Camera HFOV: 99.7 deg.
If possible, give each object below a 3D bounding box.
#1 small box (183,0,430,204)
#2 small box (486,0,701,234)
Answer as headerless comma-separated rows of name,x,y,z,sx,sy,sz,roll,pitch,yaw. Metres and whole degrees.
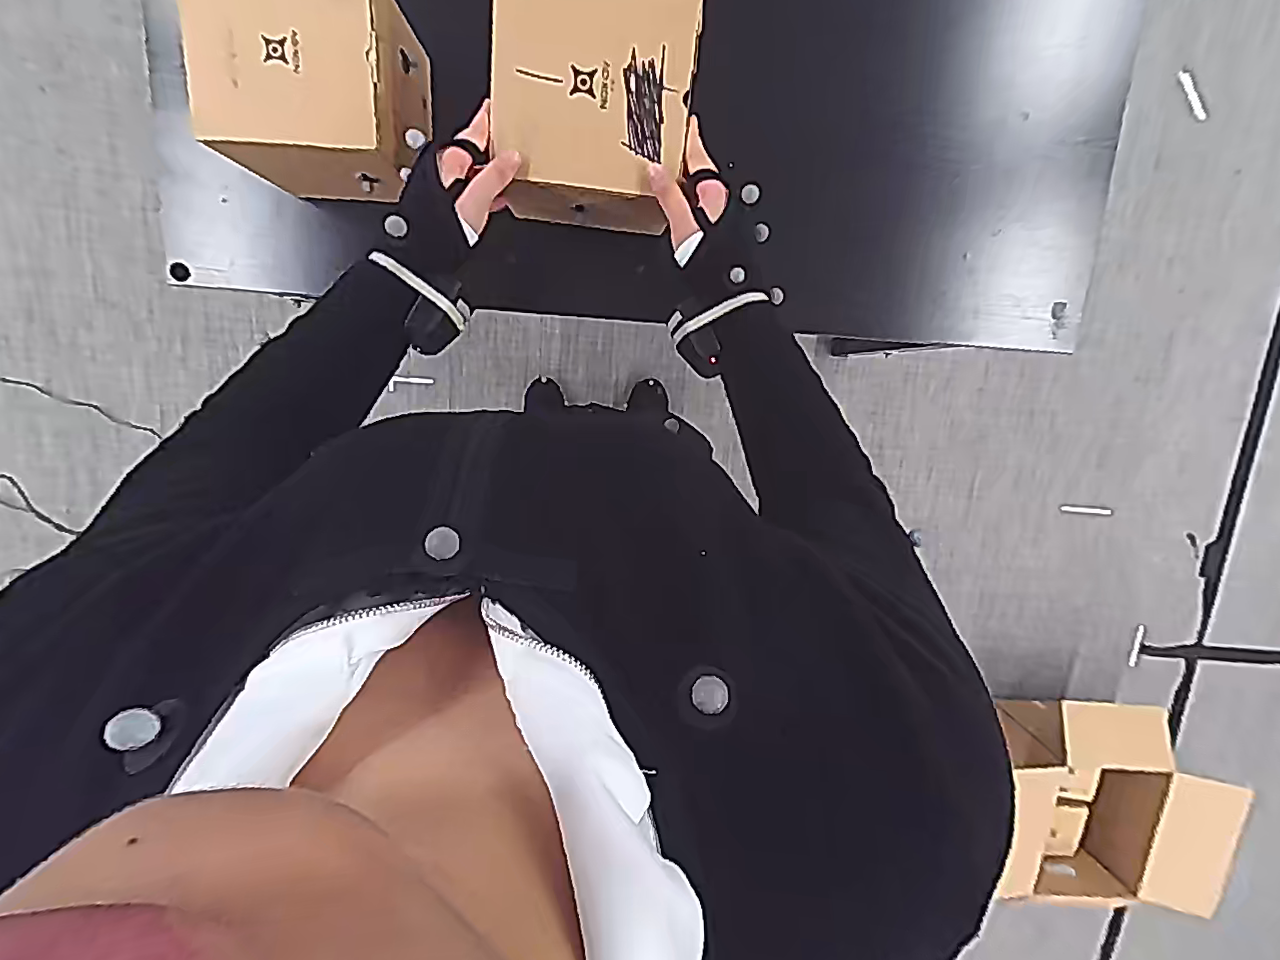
small box,-0.339,-0.415,0.588,0.179,0.176,0.168,1,100,-2
small box,-0.048,-0.356,0.544,0.179,0.176,0.168,5,104,-5
